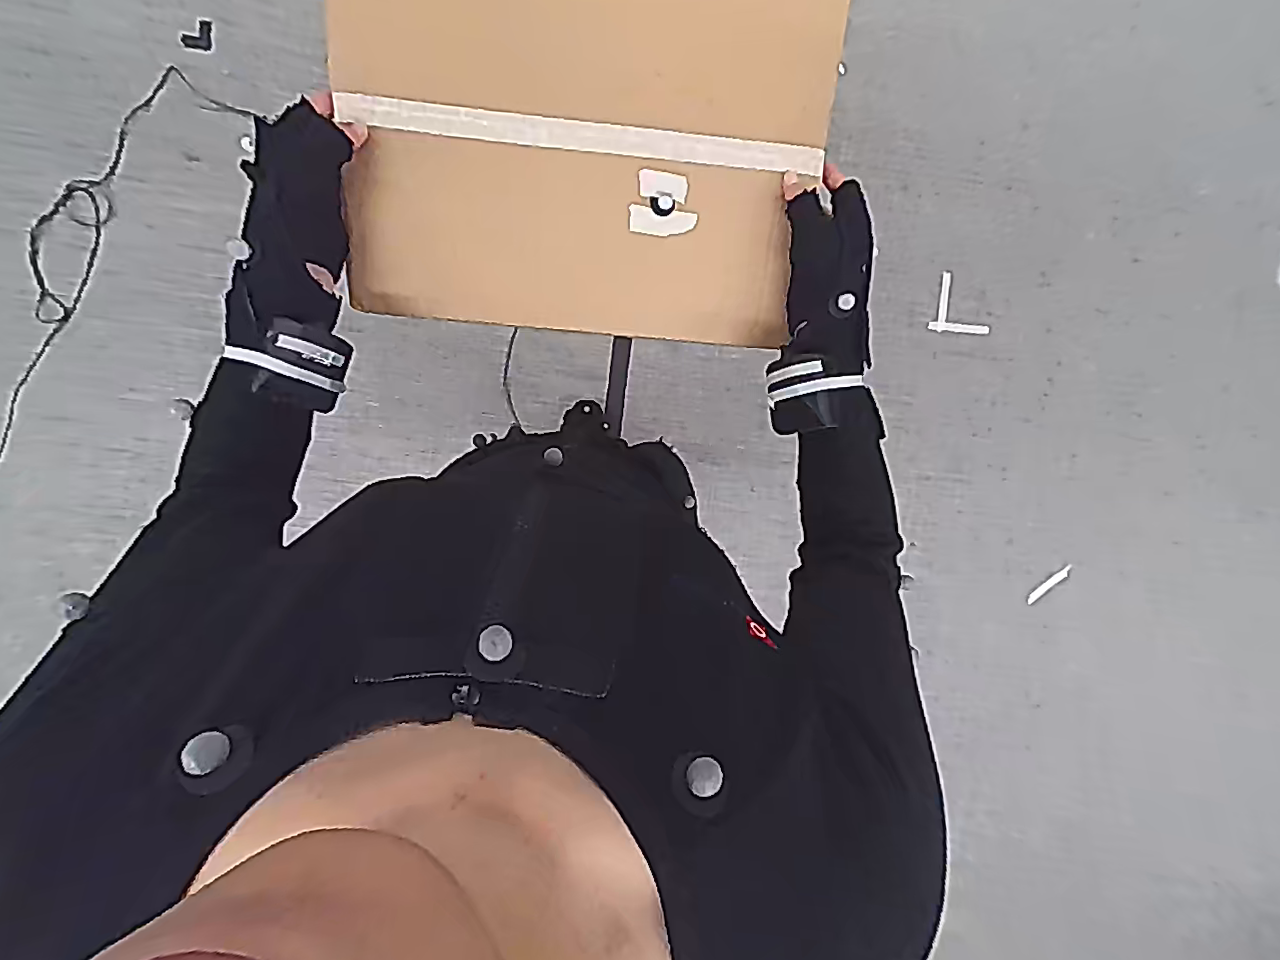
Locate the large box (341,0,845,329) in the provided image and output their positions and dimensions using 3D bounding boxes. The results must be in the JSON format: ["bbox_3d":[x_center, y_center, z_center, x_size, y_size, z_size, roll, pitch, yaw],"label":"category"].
[{"bbox_3d":[-0.050,-0.342,0.594,0.408,0.320,0.320,3,109,-6],"label":"large box"}]
